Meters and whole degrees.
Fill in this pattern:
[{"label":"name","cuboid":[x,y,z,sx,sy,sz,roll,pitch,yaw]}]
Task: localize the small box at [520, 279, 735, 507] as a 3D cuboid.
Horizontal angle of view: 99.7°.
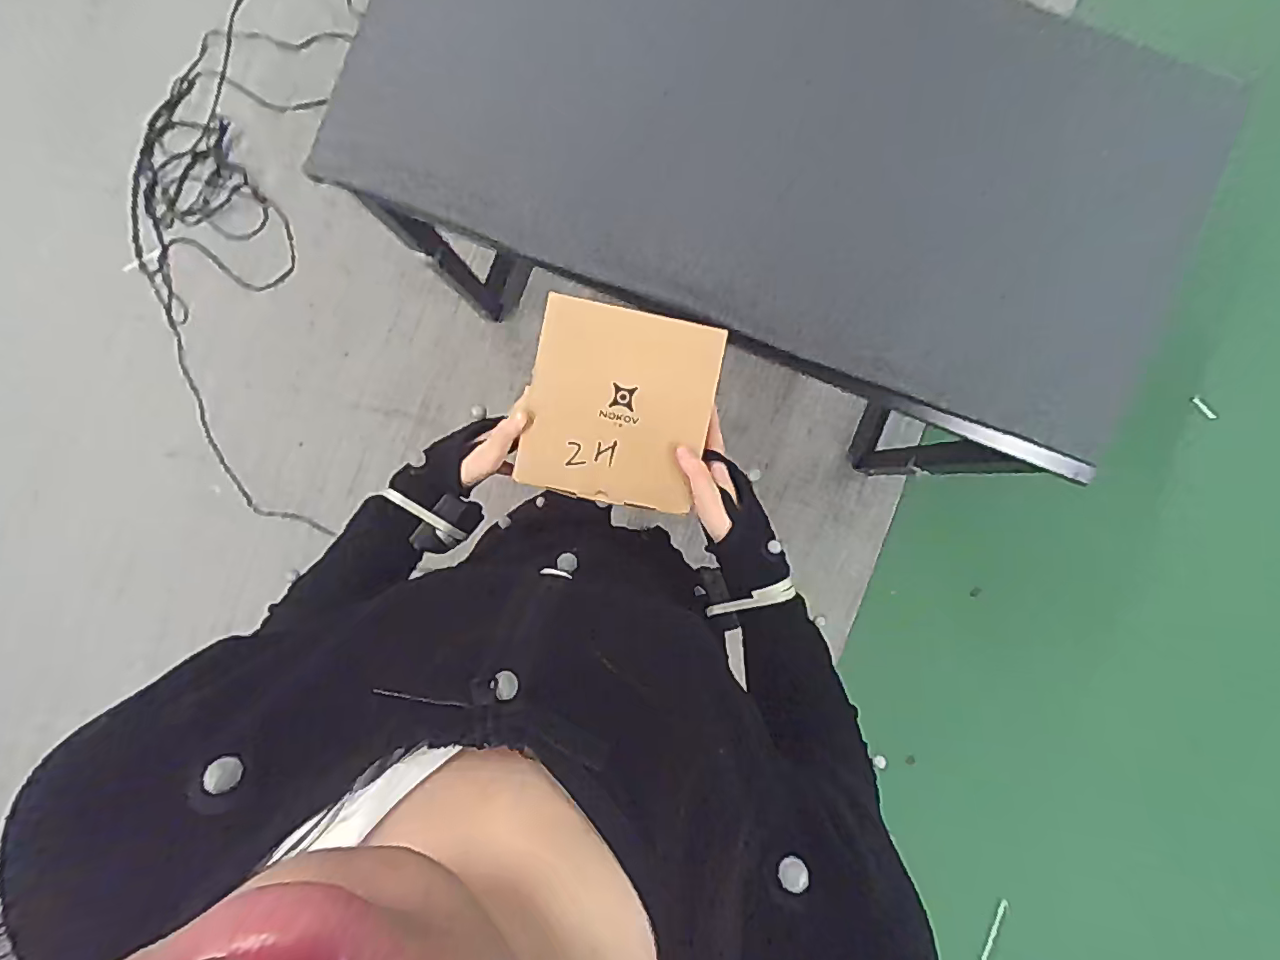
[{"label":"small box","cuboid":[-0.014,-0.079,0.561,0.168,0.176,0.179,12,92,-2]}]
